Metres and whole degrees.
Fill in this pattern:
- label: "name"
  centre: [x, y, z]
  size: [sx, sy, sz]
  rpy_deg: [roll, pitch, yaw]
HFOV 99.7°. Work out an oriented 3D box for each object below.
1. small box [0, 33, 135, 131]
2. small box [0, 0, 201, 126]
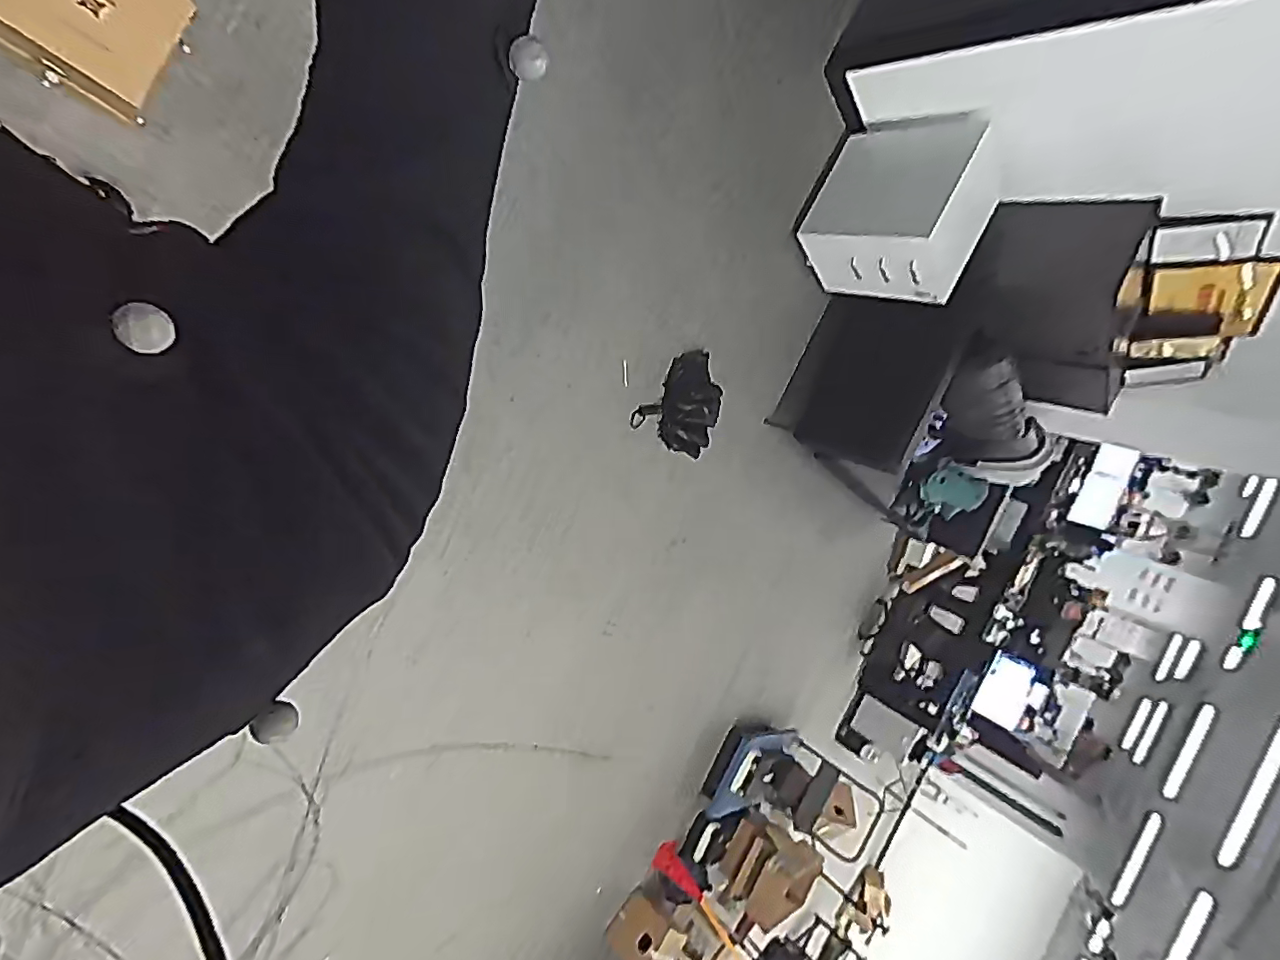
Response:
- label: "small box"
  centre: [-0.895, -0.698, 0.872]
  size: [0.179, 0.176, 0.168]
  rpy_deg: [29, 87, -47]
- label: "small box"
  centre: [-0.774, -0.651, 0.774]
  size: [0.168, 0.176, 0.179]
  rpy_deg: [27, 89, -46]
